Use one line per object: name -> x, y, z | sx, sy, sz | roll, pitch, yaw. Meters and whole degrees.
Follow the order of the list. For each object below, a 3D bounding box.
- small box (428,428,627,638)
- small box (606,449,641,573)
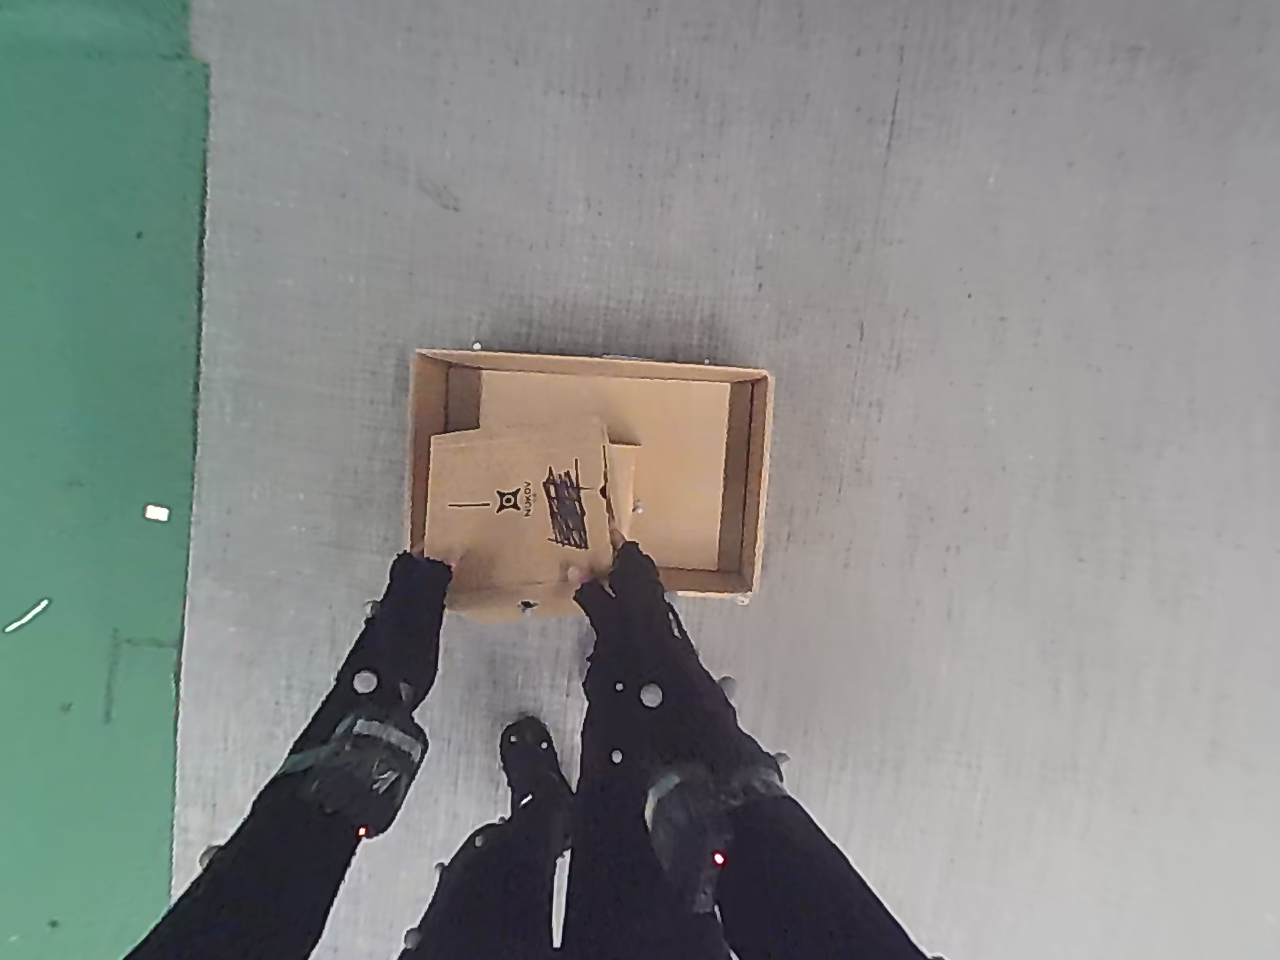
small box -> -0.110, 0.066, 0.582 | 0.179, 0.176, 0.168 | -9, 65, -1
small box -> -0.088, 0.038, 0.823 | 0.168, 0.176, 0.179 | 5, 93, 2
